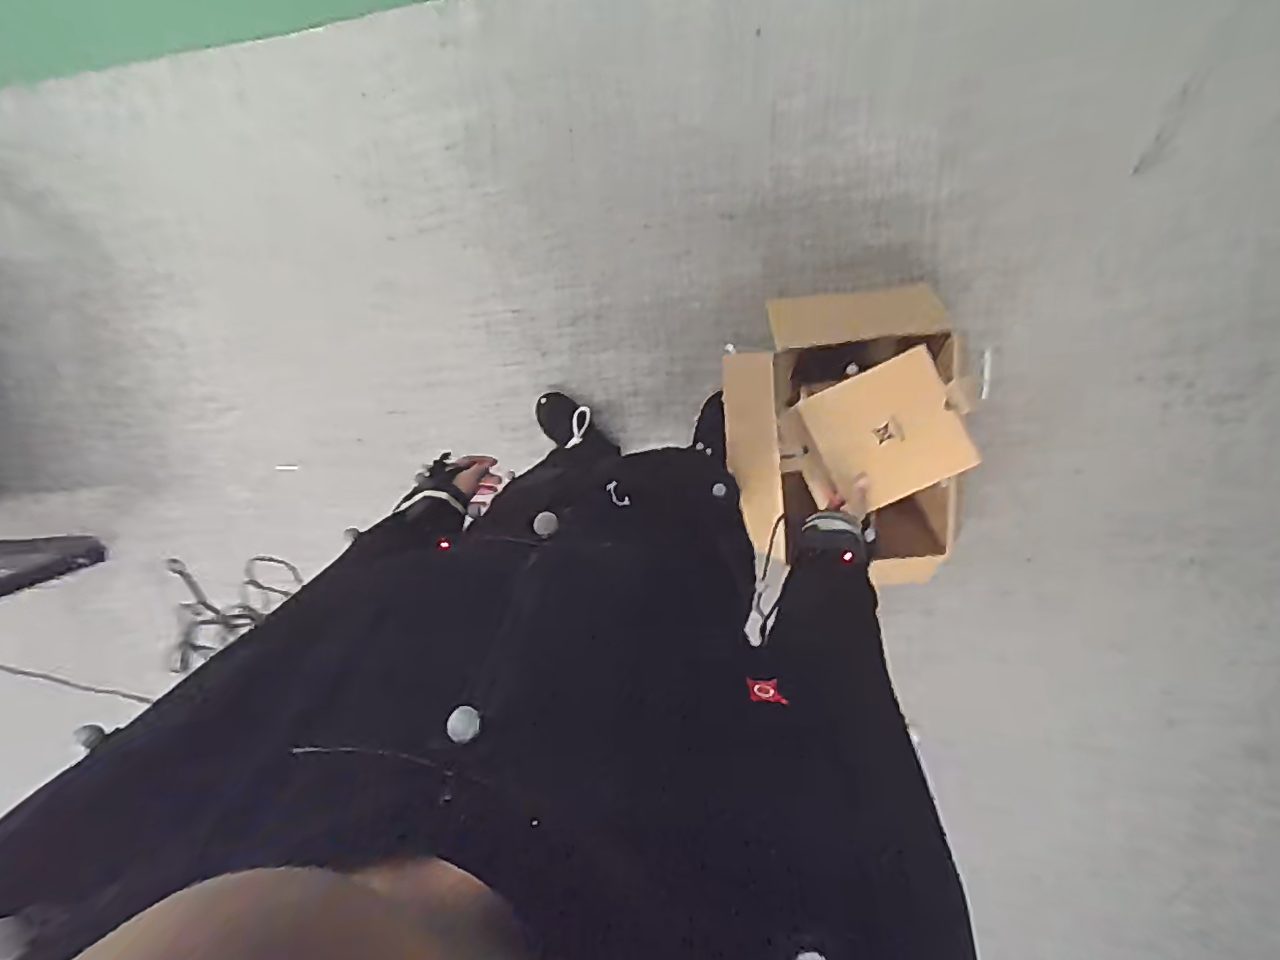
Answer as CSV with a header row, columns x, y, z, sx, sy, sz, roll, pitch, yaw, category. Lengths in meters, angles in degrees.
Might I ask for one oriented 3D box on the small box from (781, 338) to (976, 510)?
x,y,z,sx,sy,sz,roll,pitch,yaw,category
0.310,-0.066,0.752,0.179,0.176,0.168,-26,86,4,small box
